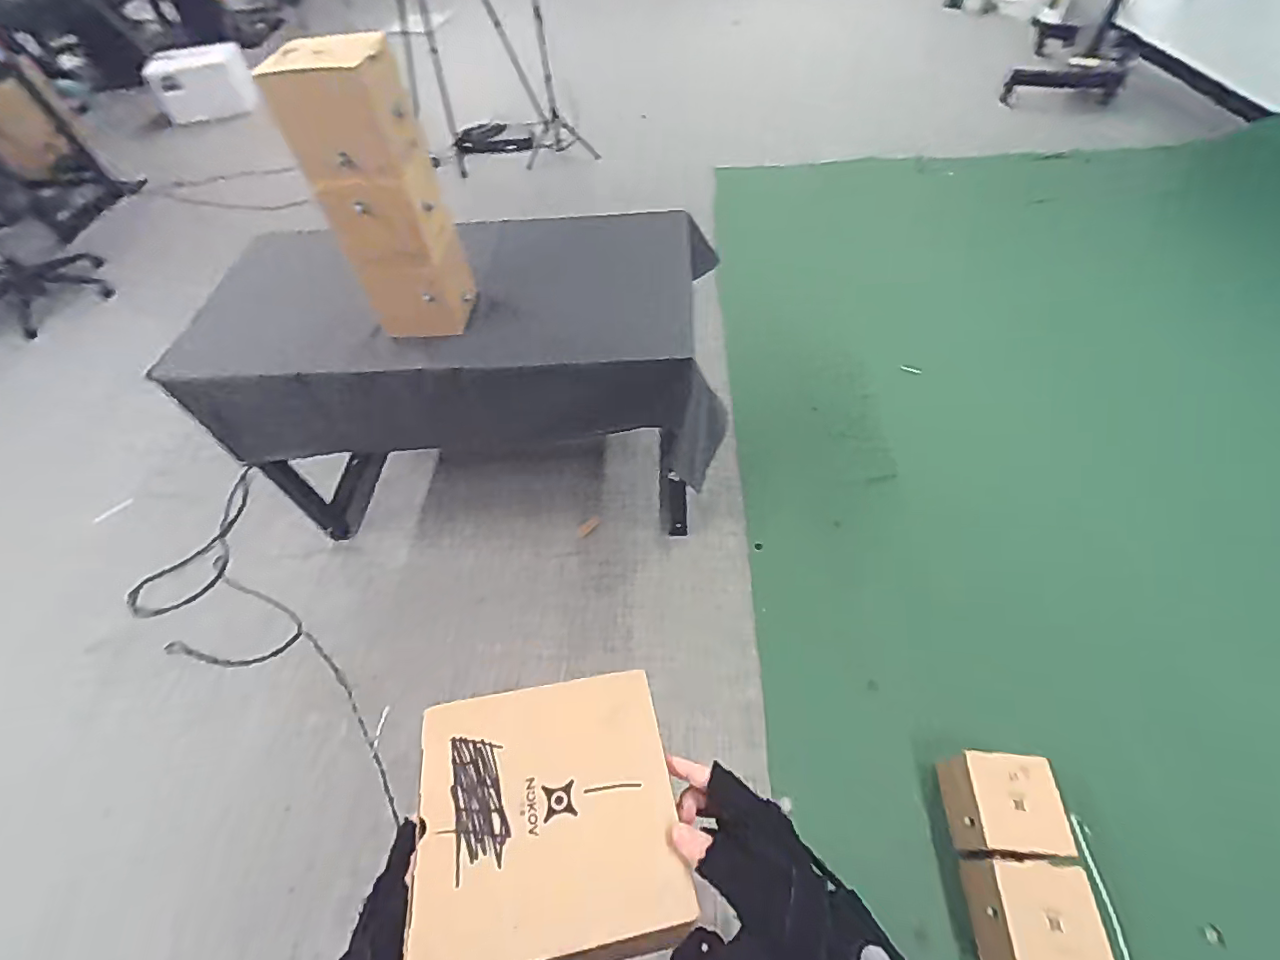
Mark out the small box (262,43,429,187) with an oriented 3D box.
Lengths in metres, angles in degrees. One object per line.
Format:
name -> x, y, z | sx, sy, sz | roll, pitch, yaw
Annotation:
small box -> -0.497, -0.636, 0.949 | 0.179, 0.176, 0.168 | 0, 53, 4

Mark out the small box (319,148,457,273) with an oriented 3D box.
small box -> -0.485, -0.532, 1.076 | 0.179, 0.176, 0.168 | -2, 53, 3

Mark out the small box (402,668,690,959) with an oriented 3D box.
small box -> -0.069, 0.278, 0.433 | 0.179, 0.176, 0.168 | -7, 45, -10
